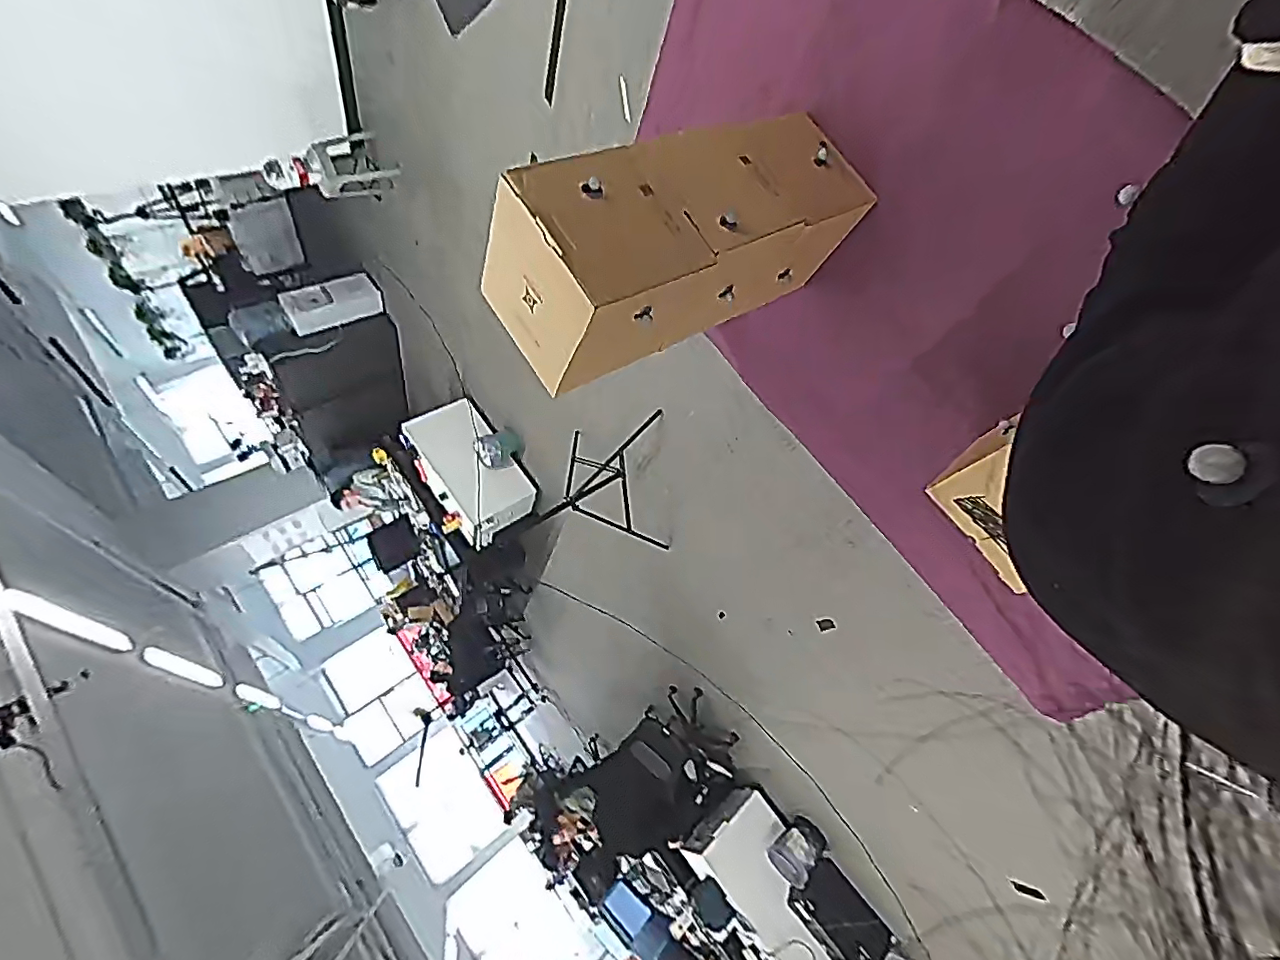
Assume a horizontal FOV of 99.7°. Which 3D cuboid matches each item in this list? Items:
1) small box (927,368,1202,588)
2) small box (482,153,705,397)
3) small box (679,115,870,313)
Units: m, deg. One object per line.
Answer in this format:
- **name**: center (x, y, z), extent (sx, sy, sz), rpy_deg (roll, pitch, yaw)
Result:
- **small box**: center (0.500, -0.001, 0.647), extent (0.168, 0.176, 0.179), rpy_deg (52, 149, 11)
- **small box**: center (-0.053, -0.228, 0.607), extent (0.168, 0.176, 0.179), rpy_deg (56, 152, 6)
- **small box**: center (0.185, -0.378, 0.773), extent (0.168, 0.176, 0.179), rpy_deg (54, 150, 7)
